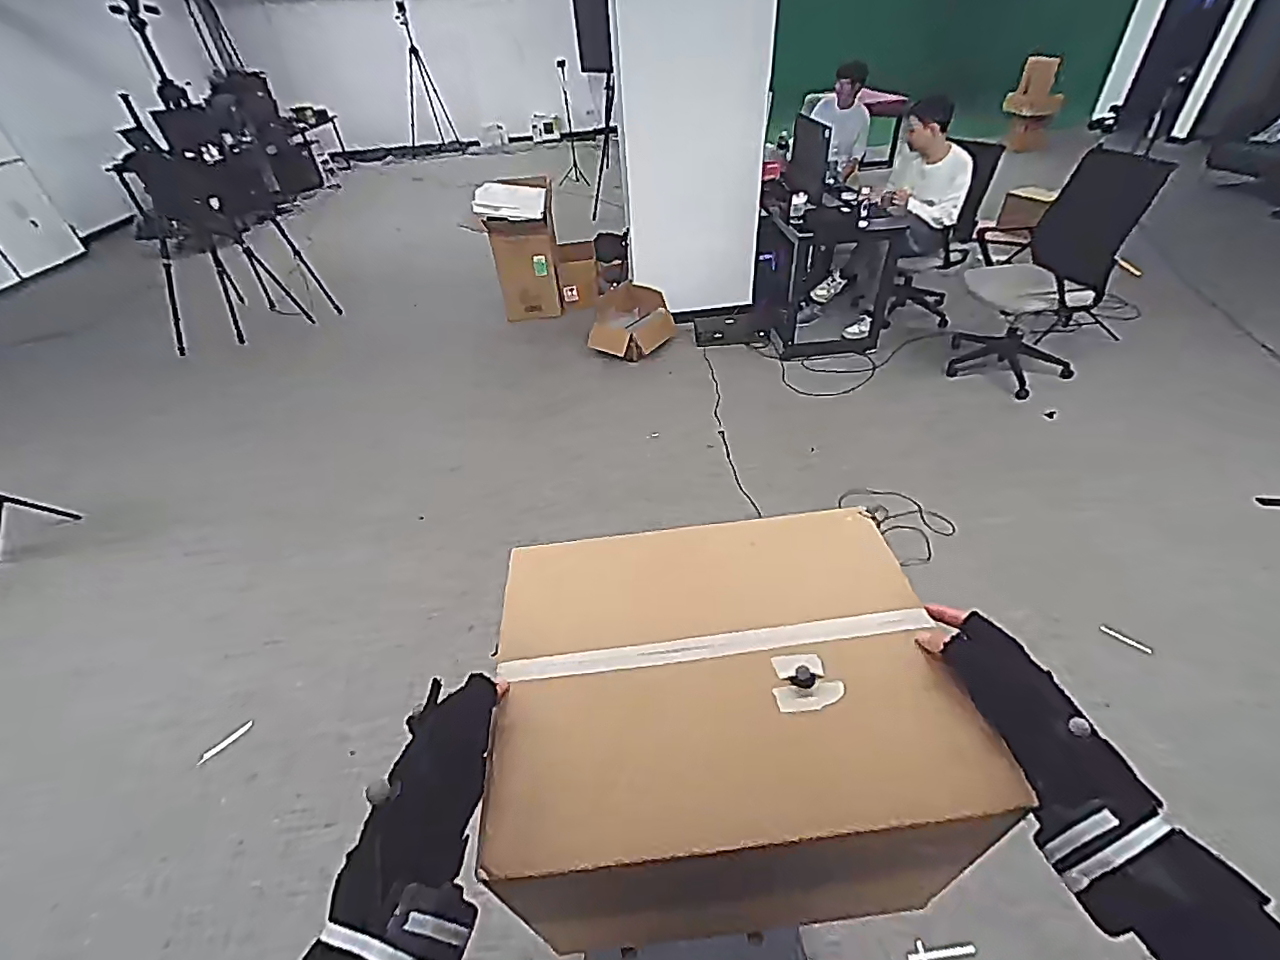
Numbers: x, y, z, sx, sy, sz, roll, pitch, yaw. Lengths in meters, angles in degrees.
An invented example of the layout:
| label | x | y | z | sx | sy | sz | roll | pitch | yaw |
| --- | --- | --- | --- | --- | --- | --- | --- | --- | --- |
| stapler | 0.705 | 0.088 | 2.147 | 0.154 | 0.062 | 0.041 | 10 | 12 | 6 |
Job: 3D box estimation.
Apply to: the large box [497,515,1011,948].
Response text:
| label | x | y | z | sx | sy | sz | roll | pitch | yaw |
| --- | --- | --- | --- | --- | --- | --- | --- | --- | --- |
| large box | 0.083 | 0.275 | 0.611 | 0.408 | 0.320 | 0.320 | -7 | 41 | -1 |
